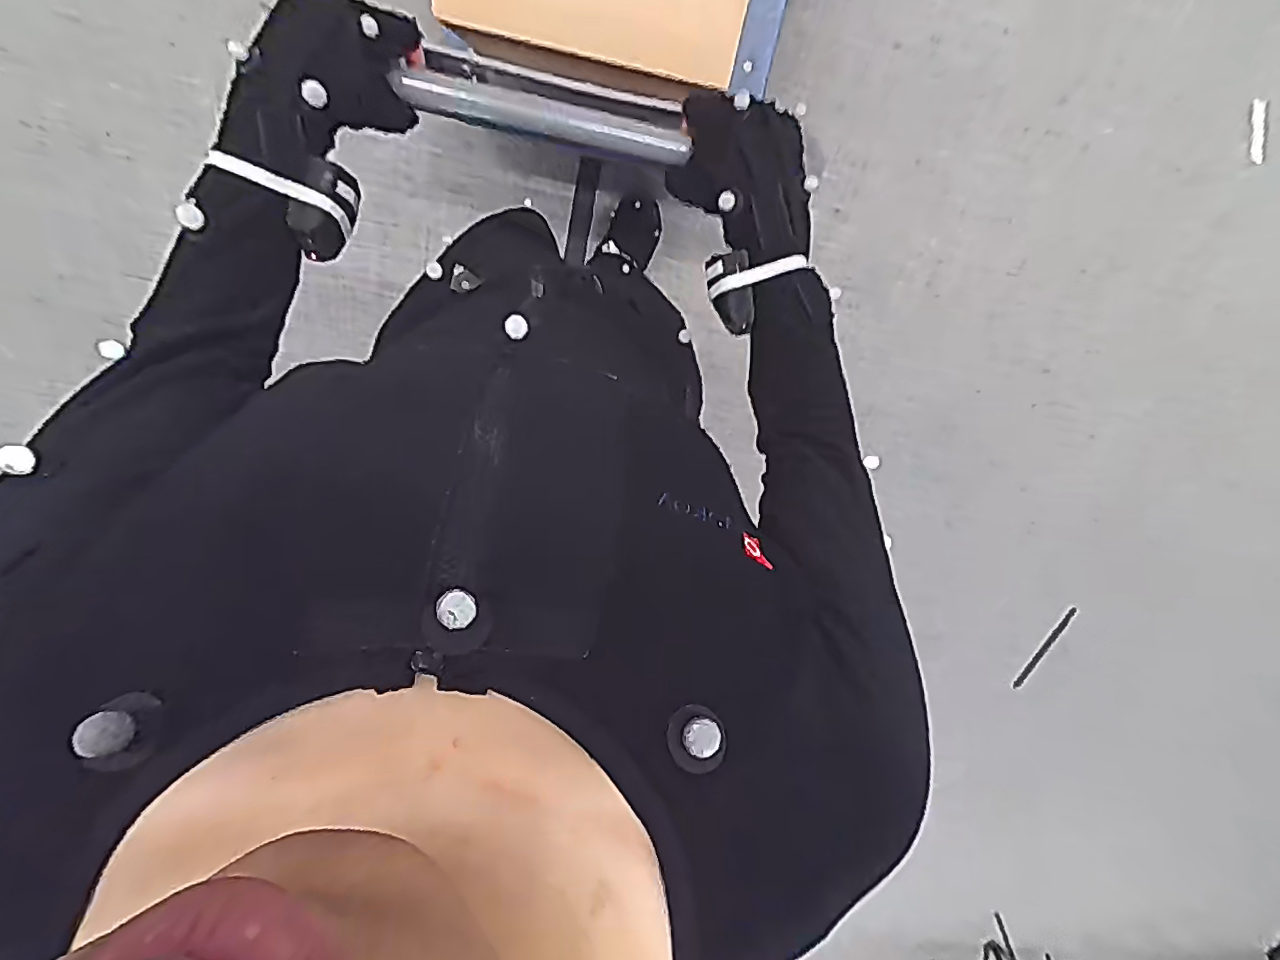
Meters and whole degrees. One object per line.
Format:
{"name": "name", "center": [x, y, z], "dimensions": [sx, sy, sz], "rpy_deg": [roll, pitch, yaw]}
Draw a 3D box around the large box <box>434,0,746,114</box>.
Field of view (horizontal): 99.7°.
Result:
{"name": "large box", "center": [-0.053, -0.768, 0.783], "dimensions": [0.408, 0.320, 0.320], "rpy_deg": [9, 119, -6]}
